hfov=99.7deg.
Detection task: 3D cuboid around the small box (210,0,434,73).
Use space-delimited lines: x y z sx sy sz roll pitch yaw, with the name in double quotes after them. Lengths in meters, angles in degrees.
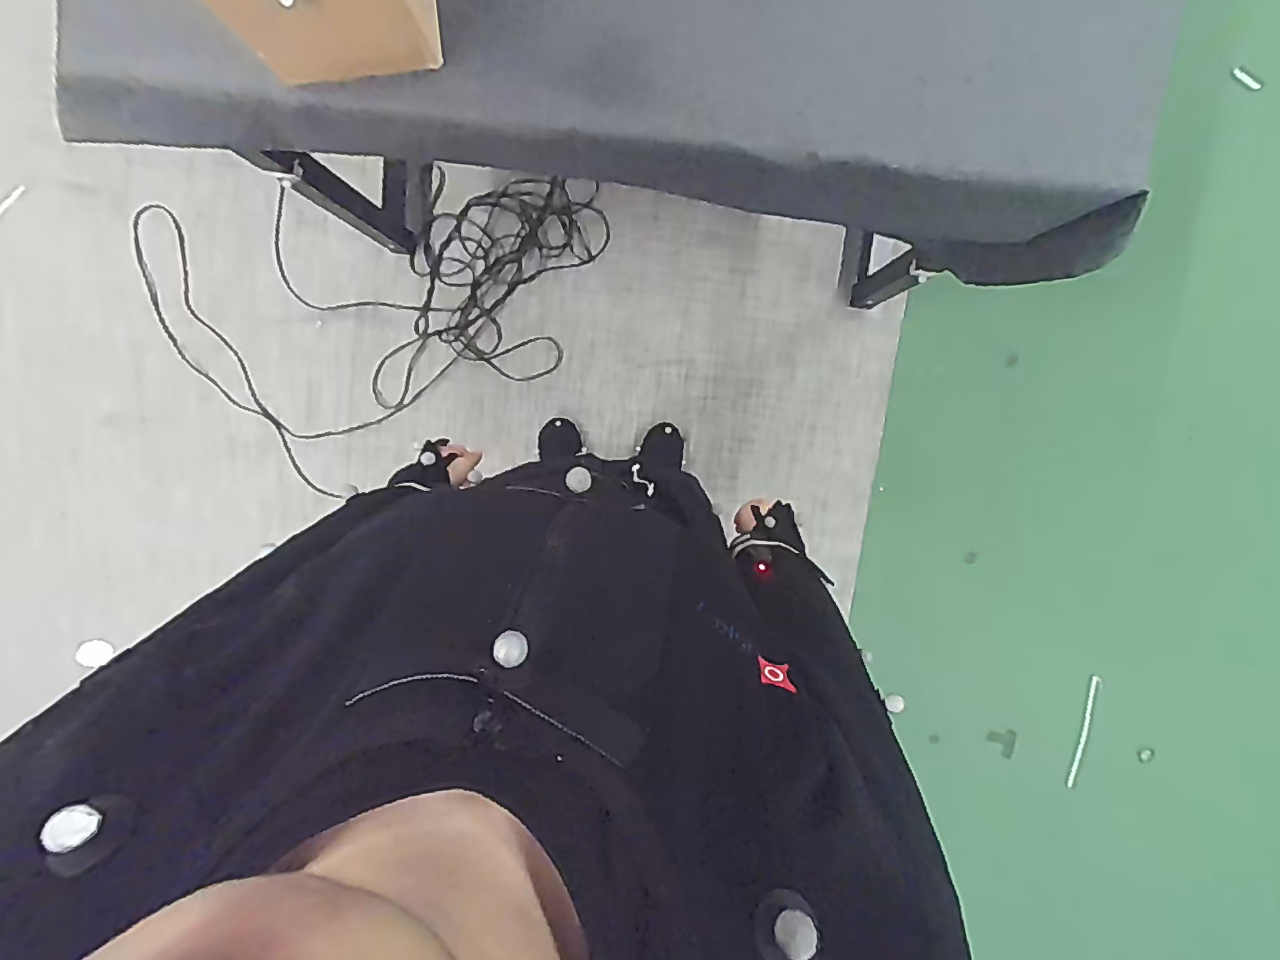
-0.304 -0.516 0.496 0.179 0.176 0.168 -5 96 1 "small box"
